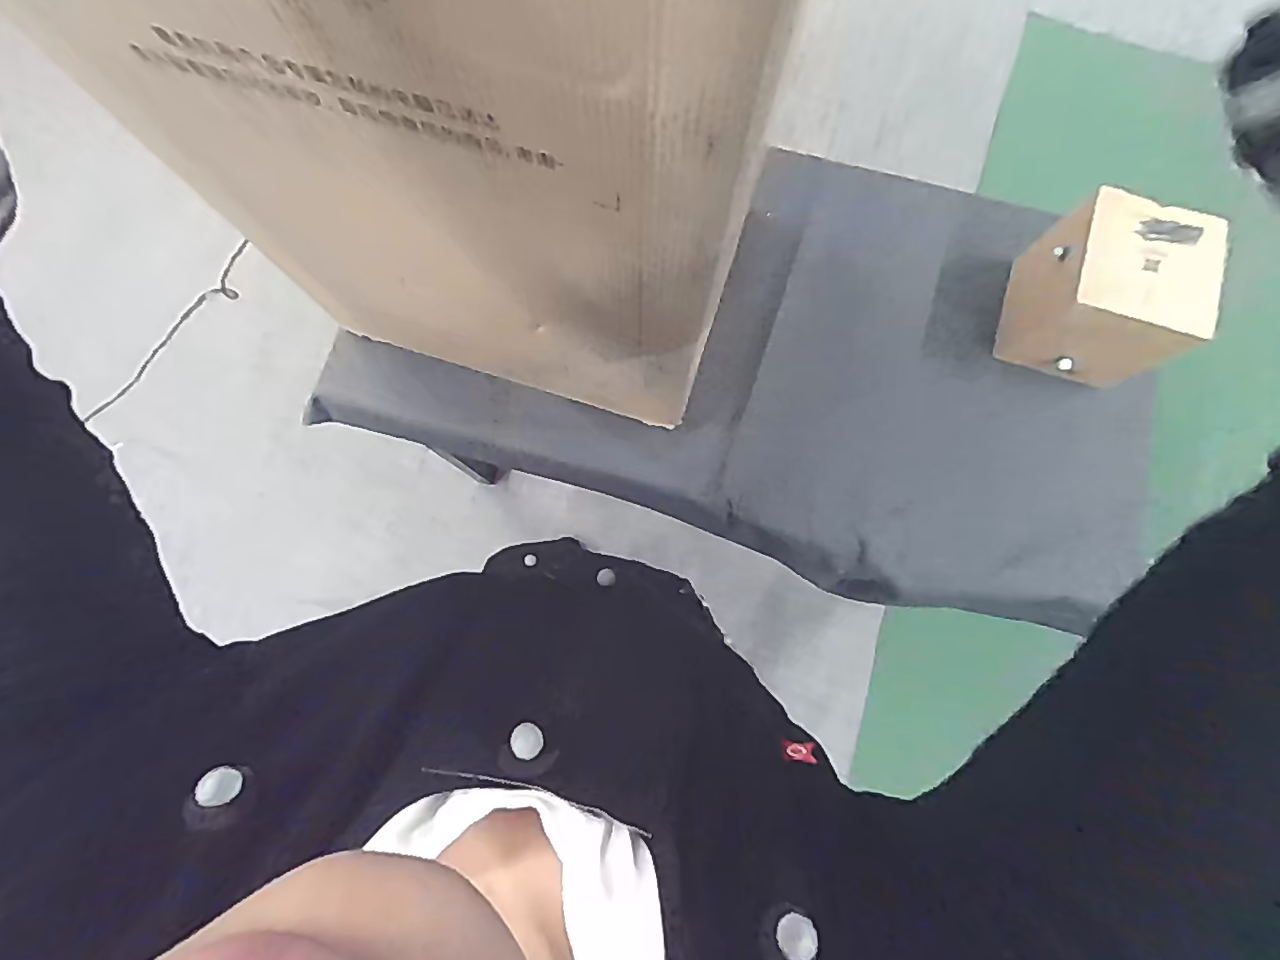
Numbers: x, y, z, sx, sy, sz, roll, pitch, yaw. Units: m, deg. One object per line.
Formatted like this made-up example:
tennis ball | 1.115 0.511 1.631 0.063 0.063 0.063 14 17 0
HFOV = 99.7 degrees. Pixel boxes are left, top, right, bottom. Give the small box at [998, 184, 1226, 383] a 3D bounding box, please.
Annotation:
small box | 0.644 -0.264 0.758 0.168 0.176 0.179 19 80 4
